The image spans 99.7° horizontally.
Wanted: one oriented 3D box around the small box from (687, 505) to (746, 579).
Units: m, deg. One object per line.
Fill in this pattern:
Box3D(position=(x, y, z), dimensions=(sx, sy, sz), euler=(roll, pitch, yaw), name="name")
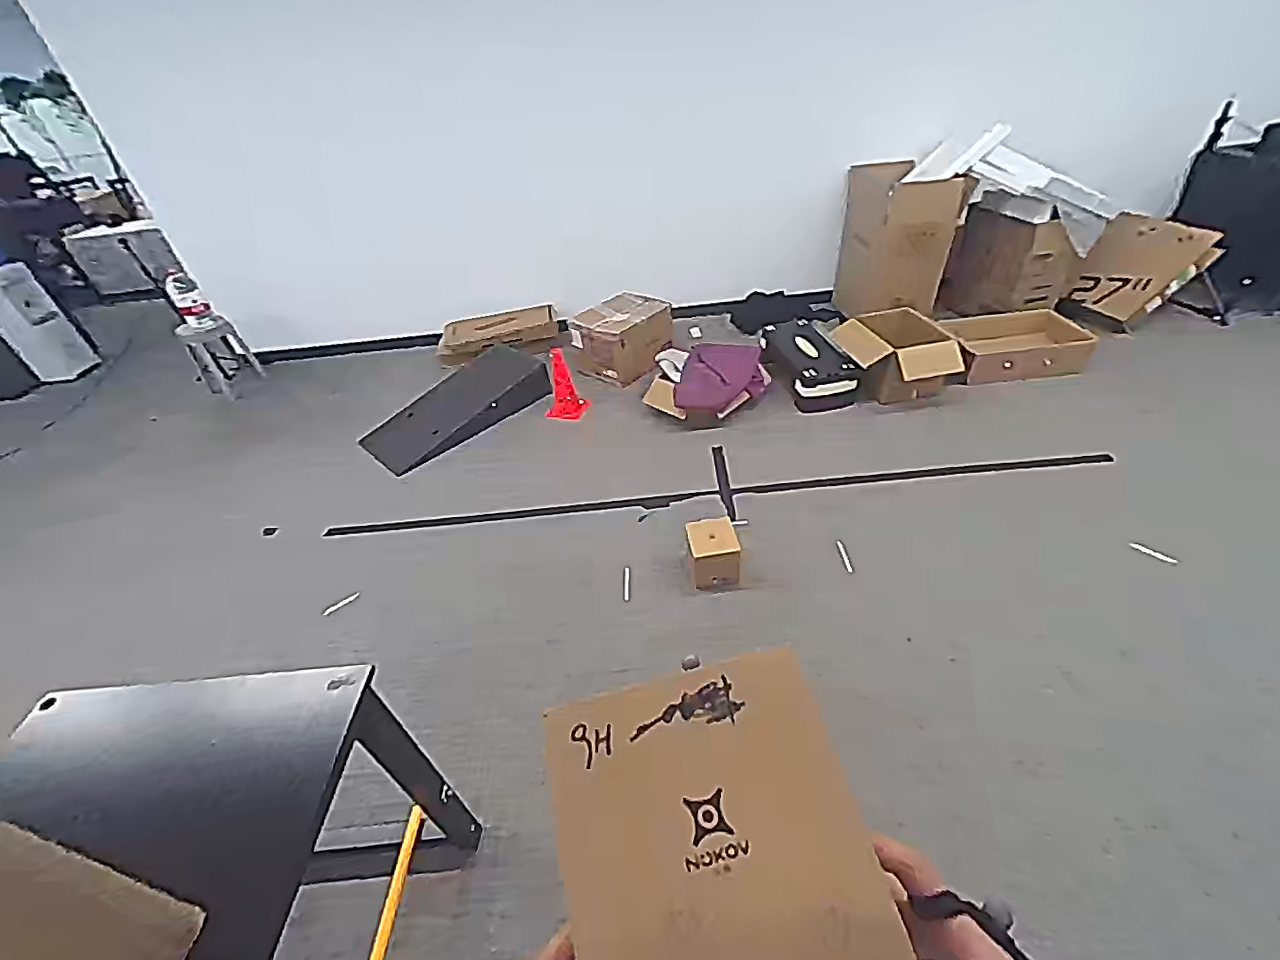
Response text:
Box3D(position=(0.261, 0.214, 1.867), dimensions=(0.168, 0.176, 0.179), euler=(-10, 40, -2), name="small box")
